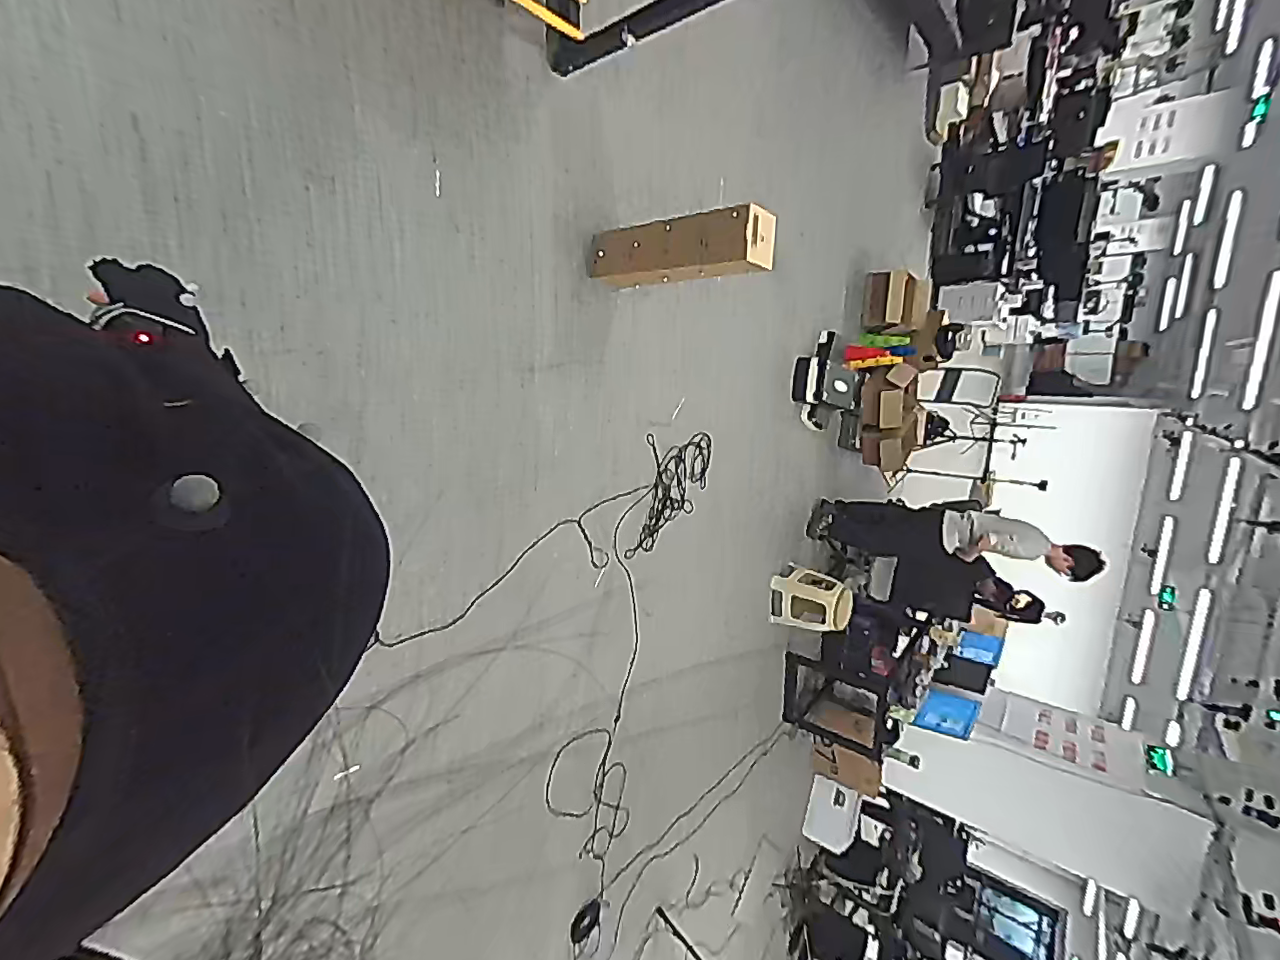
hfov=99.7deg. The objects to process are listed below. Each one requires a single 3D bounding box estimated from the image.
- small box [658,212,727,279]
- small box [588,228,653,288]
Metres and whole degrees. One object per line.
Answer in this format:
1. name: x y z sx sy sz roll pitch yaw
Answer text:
1. small box: 0.178 -0.791 1.846 0.179 0.176 0.168 -8 104 -51
2. small box: -0.075 -0.834 2.048 0.179 0.176 0.168 -4 101 -51
